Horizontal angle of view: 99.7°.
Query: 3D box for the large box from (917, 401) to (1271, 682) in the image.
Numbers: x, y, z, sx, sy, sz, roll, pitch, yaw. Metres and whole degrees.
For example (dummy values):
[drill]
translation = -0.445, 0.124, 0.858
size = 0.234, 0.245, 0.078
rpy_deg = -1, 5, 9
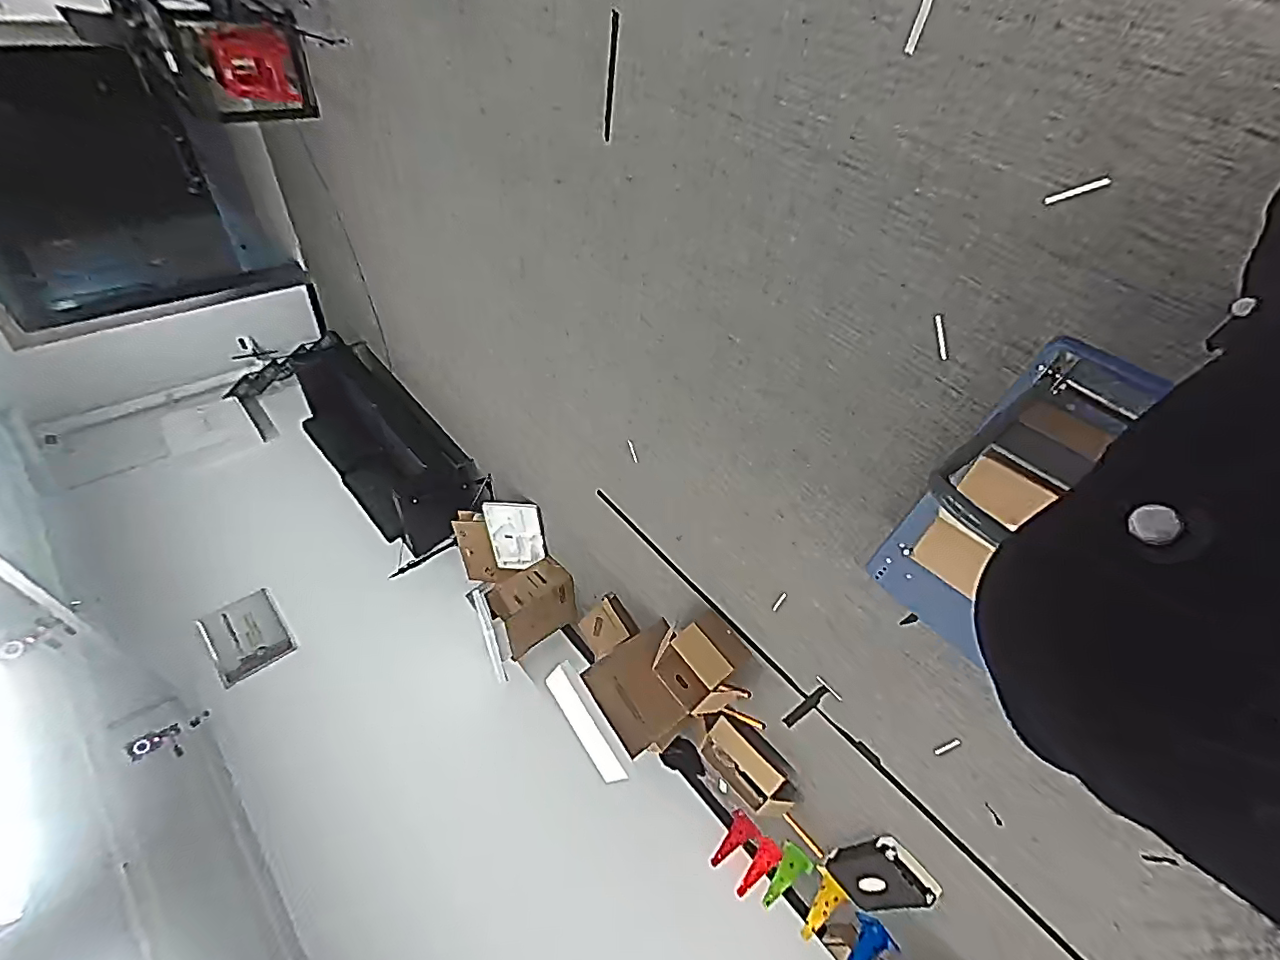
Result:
[large box]
translation = 0.873, 0.104, 1.085
size = 0.408, 0.320, 0.320
rpy_deg = 41, 142, 30
